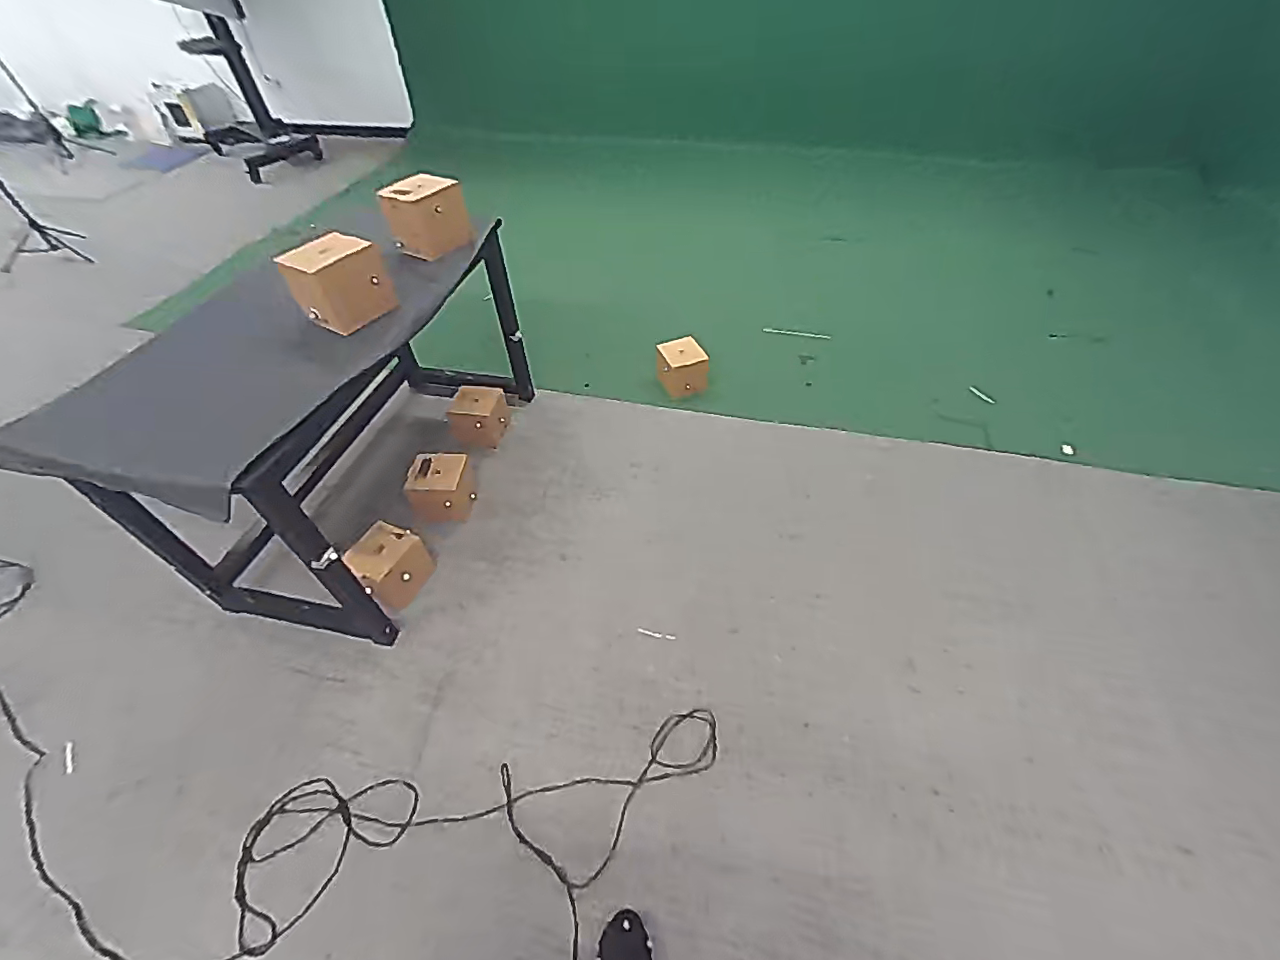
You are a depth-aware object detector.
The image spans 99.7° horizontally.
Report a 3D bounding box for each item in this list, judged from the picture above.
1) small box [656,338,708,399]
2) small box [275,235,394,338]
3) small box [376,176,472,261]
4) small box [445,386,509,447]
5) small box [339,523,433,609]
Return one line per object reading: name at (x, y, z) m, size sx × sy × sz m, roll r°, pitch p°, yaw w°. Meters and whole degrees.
small box at (0.171, -0.470, 2.288) m, size 0.168 × 0.176 × 0.179 m, roll -18°, pitch 51°, yaw -13°
small box at (-0.750, -0.485, 1.357) m, size 0.168 × 0.176 × 0.179 m, roll 23°, pitch 54°, yaw 25°
small box at (-0.630, -0.773, 1.602) m, size 0.168 × 0.176 × 0.179 m, roll 25°, pitch 55°, yaw 25°
small box at (-0.628, -0.244, 2.111) m, size 0.179 × 0.176 × 0.168 m, roll 5°, pitch 48°, yaw 7°
small box at (-0.769, 0.268, 1.661) m, size 0.168 × 0.176 × 0.179 m, roll 19°, pitch 52°, yaw 18°
